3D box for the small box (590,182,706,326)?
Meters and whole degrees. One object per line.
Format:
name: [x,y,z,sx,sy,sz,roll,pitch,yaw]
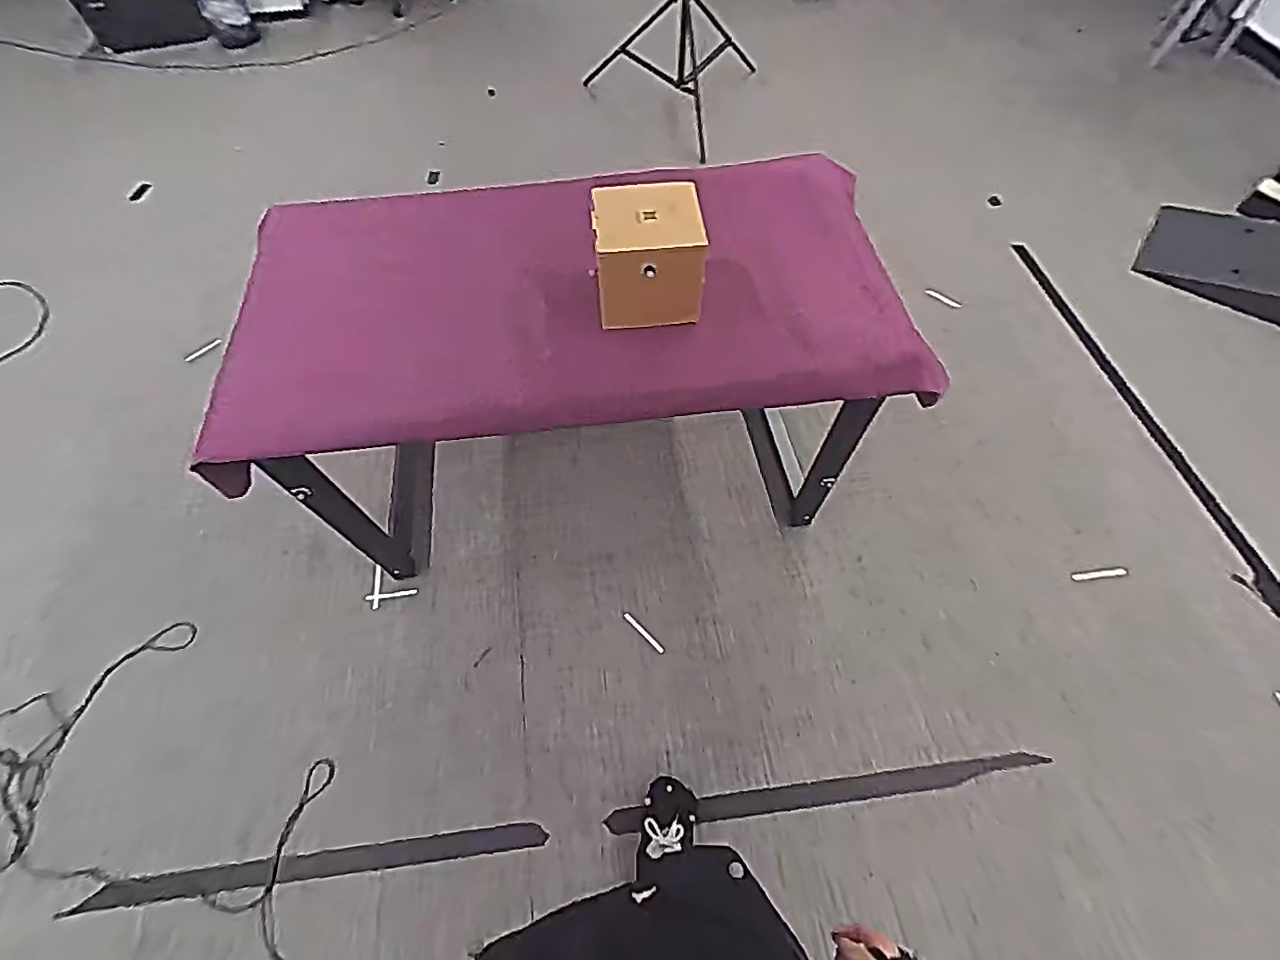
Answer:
small box: [0.011,-0.387,0.945,0.179,0.176,0.168,-5,61,-3]
